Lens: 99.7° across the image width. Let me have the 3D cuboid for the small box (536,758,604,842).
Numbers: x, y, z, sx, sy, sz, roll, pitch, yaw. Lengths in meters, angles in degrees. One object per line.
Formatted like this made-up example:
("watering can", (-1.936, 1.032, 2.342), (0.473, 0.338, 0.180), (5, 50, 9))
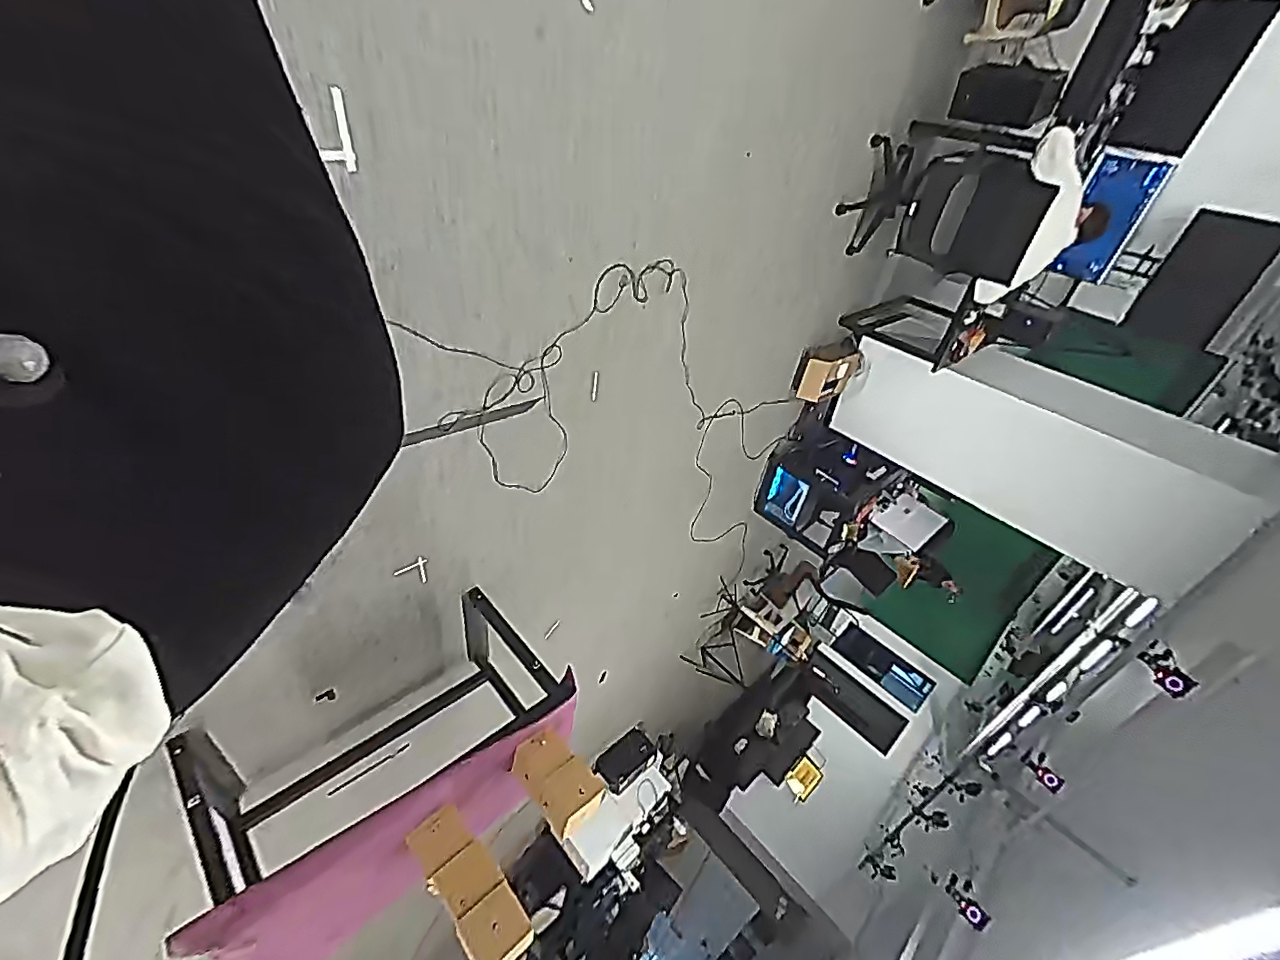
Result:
("small box", (-0.263, 1.187, 2.020), (0.179, 0.176, 0.168), (-18, 133, -42))

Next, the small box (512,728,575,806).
("small box", (-0.381, 1.114, 2.110), (0.168, 0.176, 0.179), (-16, 132, -44))

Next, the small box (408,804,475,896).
("small box", (-0.688, 1.282, 1.879), (0.179, 0.176, 0.168), (-26, 141, -35))

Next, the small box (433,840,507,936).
("small box", (-0.563, 1.352, 1.799), (0.179, 0.176, 0.168), (-27, 140, -35))
